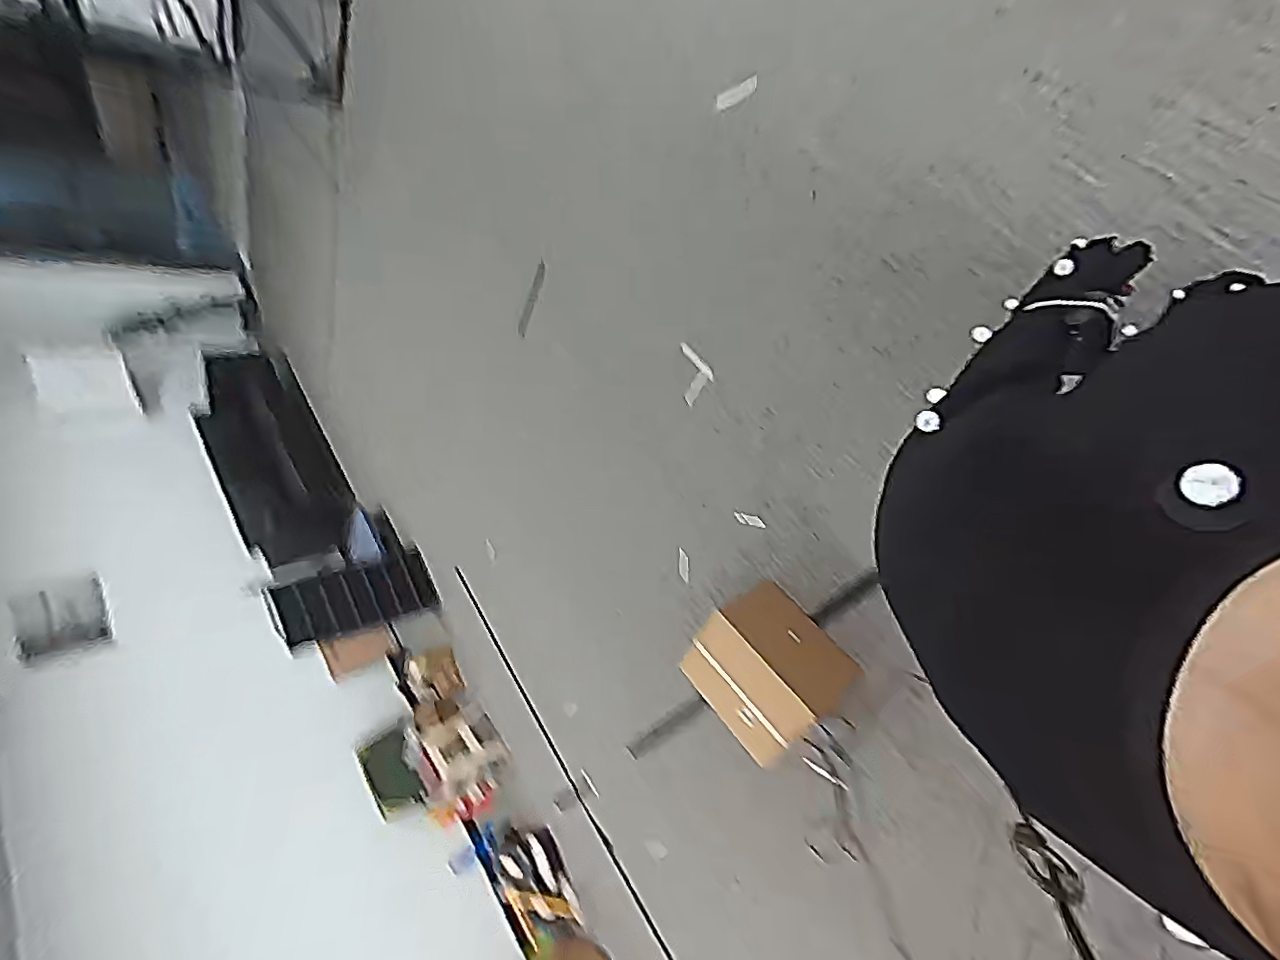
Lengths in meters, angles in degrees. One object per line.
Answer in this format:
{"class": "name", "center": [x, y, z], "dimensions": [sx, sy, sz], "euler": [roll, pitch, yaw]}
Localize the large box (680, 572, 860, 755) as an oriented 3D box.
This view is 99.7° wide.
{"class": "large box", "center": [0.412, 0.573, 1.750], "dimensions": [0.408, 0.320, 0.320], "euler": [45, 130, 27]}
